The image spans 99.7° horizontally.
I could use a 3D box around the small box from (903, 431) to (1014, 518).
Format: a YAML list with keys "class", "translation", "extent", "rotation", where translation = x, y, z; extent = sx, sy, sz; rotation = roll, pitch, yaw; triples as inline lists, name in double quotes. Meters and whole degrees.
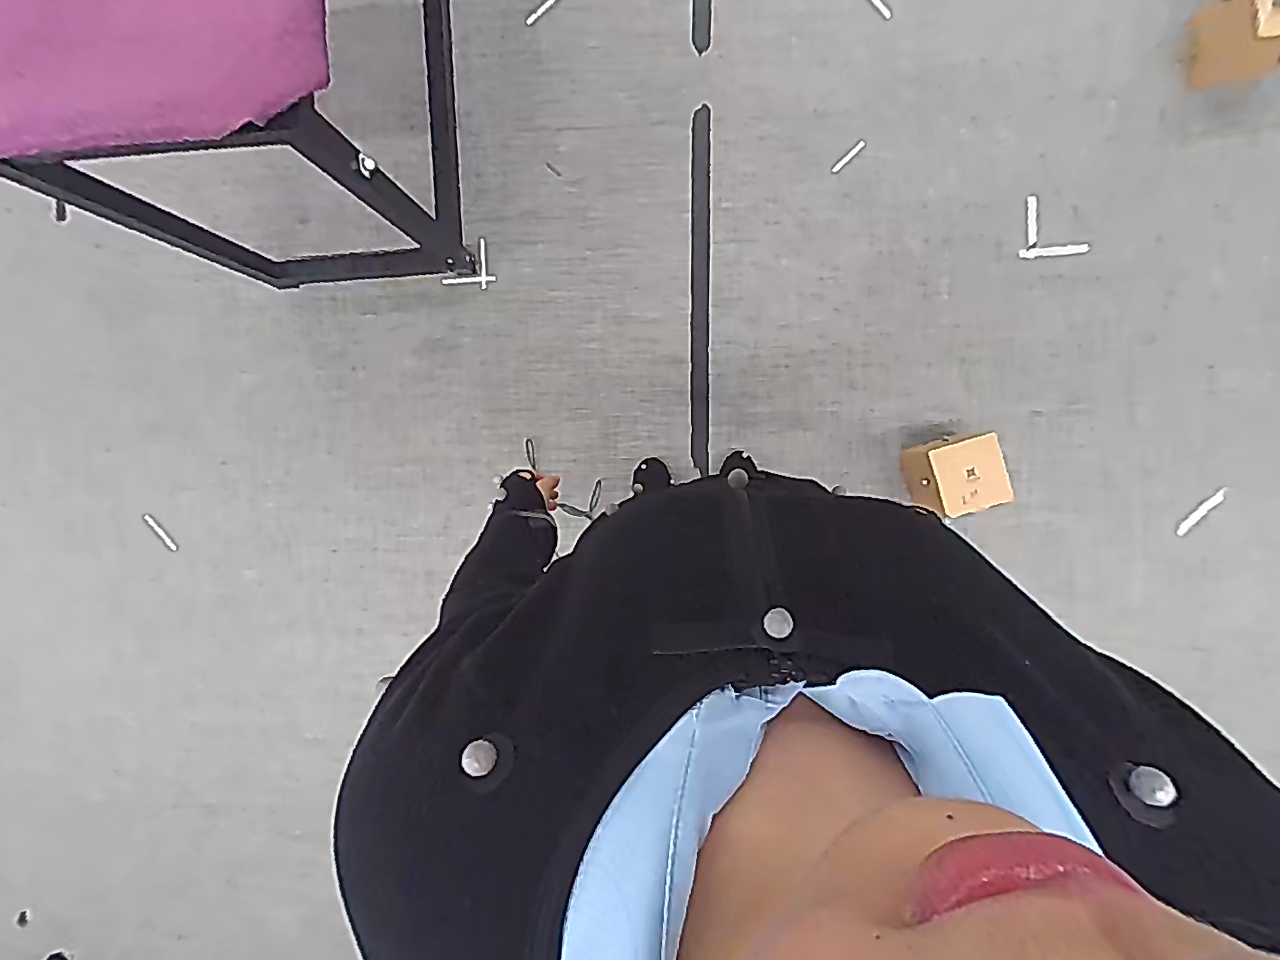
- class: "small box"
  translation: [0.798, -0.015, 1.373]
  extent: [0.168, 0.176, 0.179]
  rotation: [-17, 92, 4]
